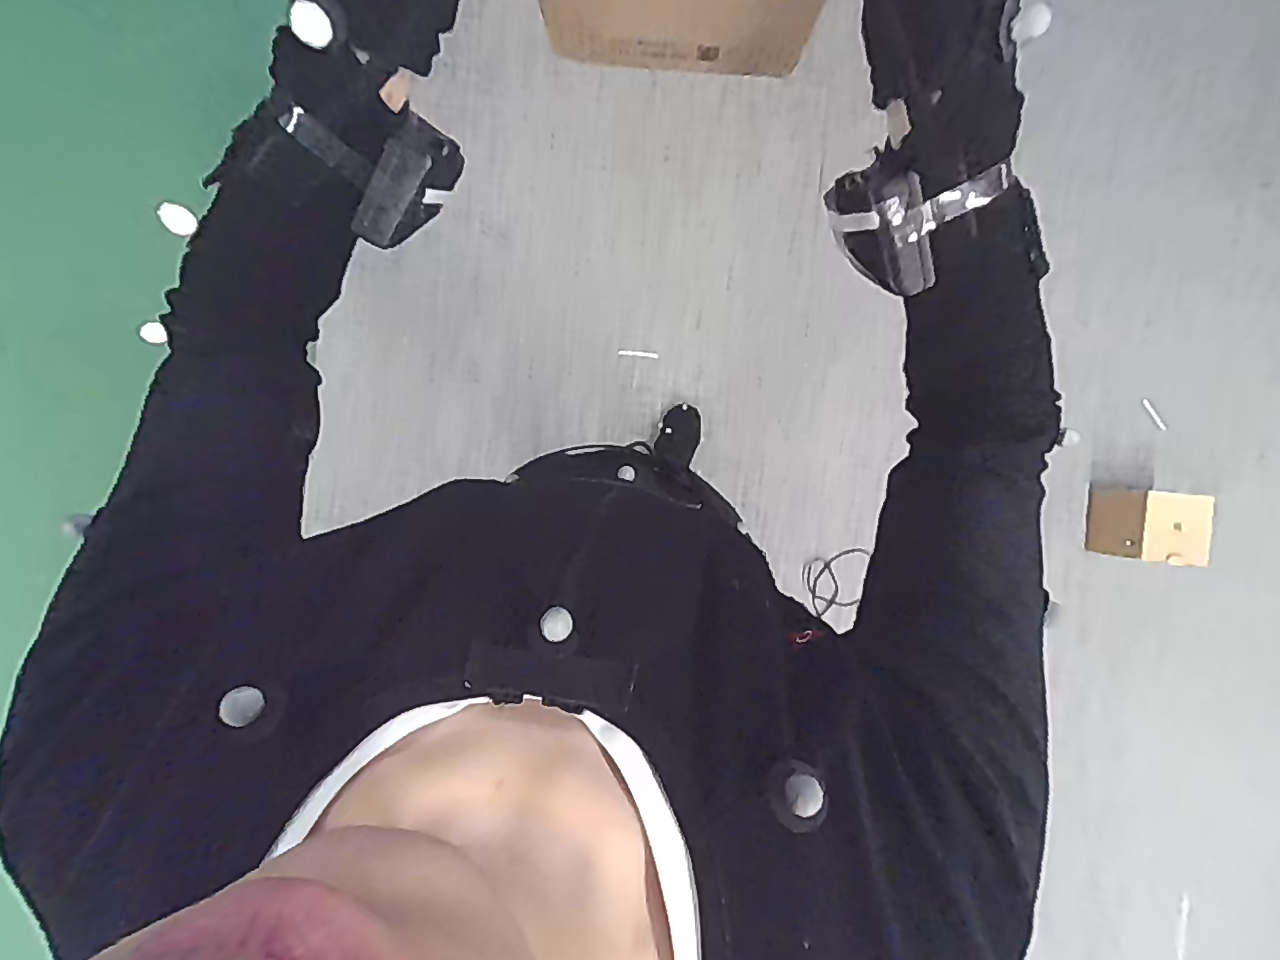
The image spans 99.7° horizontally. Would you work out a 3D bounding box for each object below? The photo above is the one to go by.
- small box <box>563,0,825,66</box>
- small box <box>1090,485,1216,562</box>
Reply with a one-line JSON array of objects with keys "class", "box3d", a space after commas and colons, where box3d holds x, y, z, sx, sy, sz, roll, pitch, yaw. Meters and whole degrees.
[{"class": "small box", "box3d": [0.035, -0.363, 0.274, 0.168, 0.176, 0.179, 5, 97, 1]}, {"class": "small box", "box3d": [1.310, 0.105, 1.392, 0.168, 0.176, 0.179, 5, 91, 0]}]
